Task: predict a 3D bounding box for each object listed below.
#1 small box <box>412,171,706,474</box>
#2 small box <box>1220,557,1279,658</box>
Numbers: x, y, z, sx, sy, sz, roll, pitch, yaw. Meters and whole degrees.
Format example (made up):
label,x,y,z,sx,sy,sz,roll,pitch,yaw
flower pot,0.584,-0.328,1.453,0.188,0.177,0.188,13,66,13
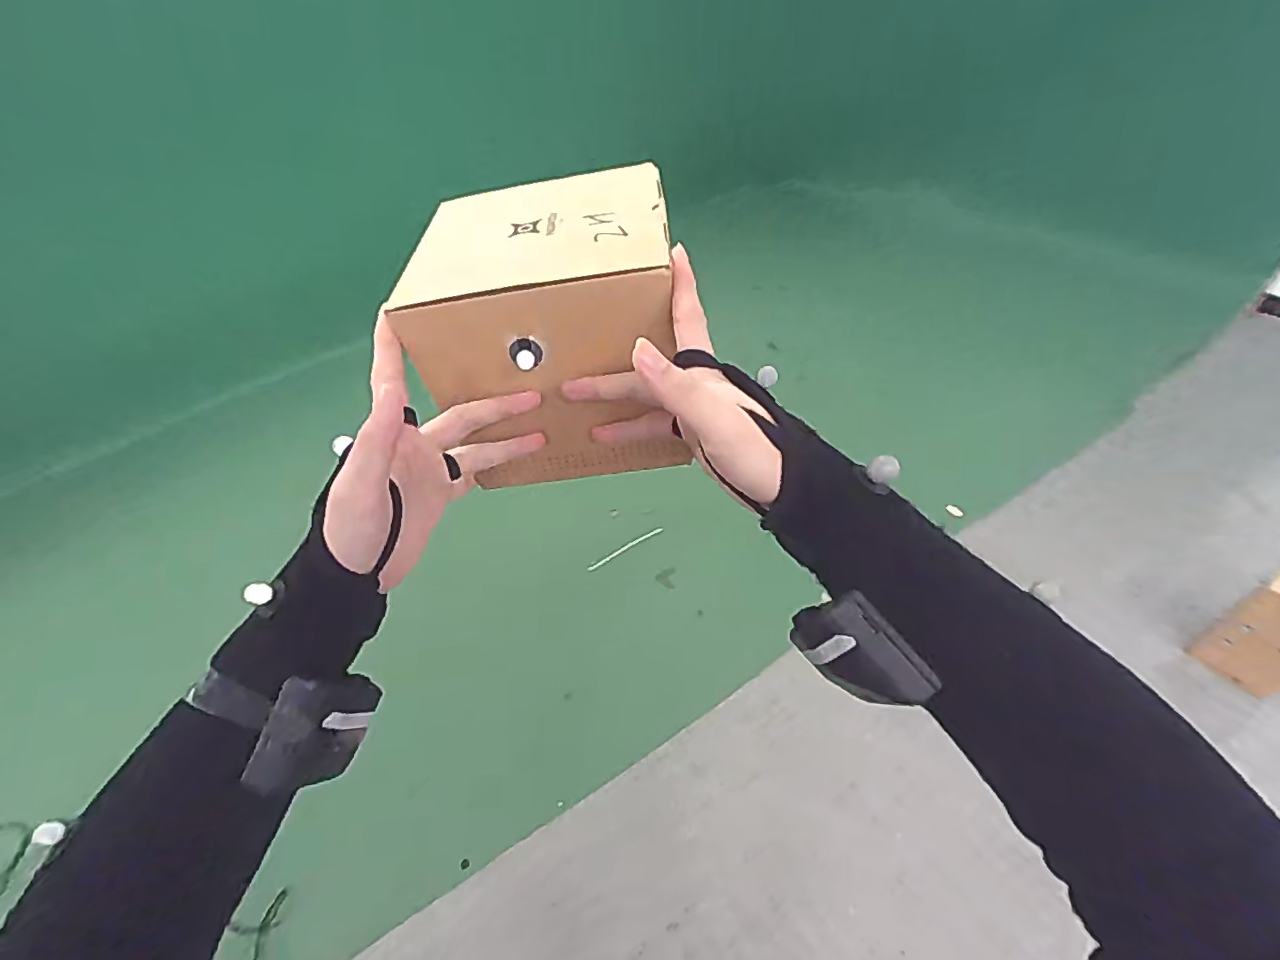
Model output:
label,x,y,z,sx,sy,sz,roll,pitch,yaw
small box,-0.045,-0.120,0.435,0.179,0.176,0.168,-6,47,5
small box,1.556,0.306,1.285,0.179,0.176,0.168,-30,48,-18
